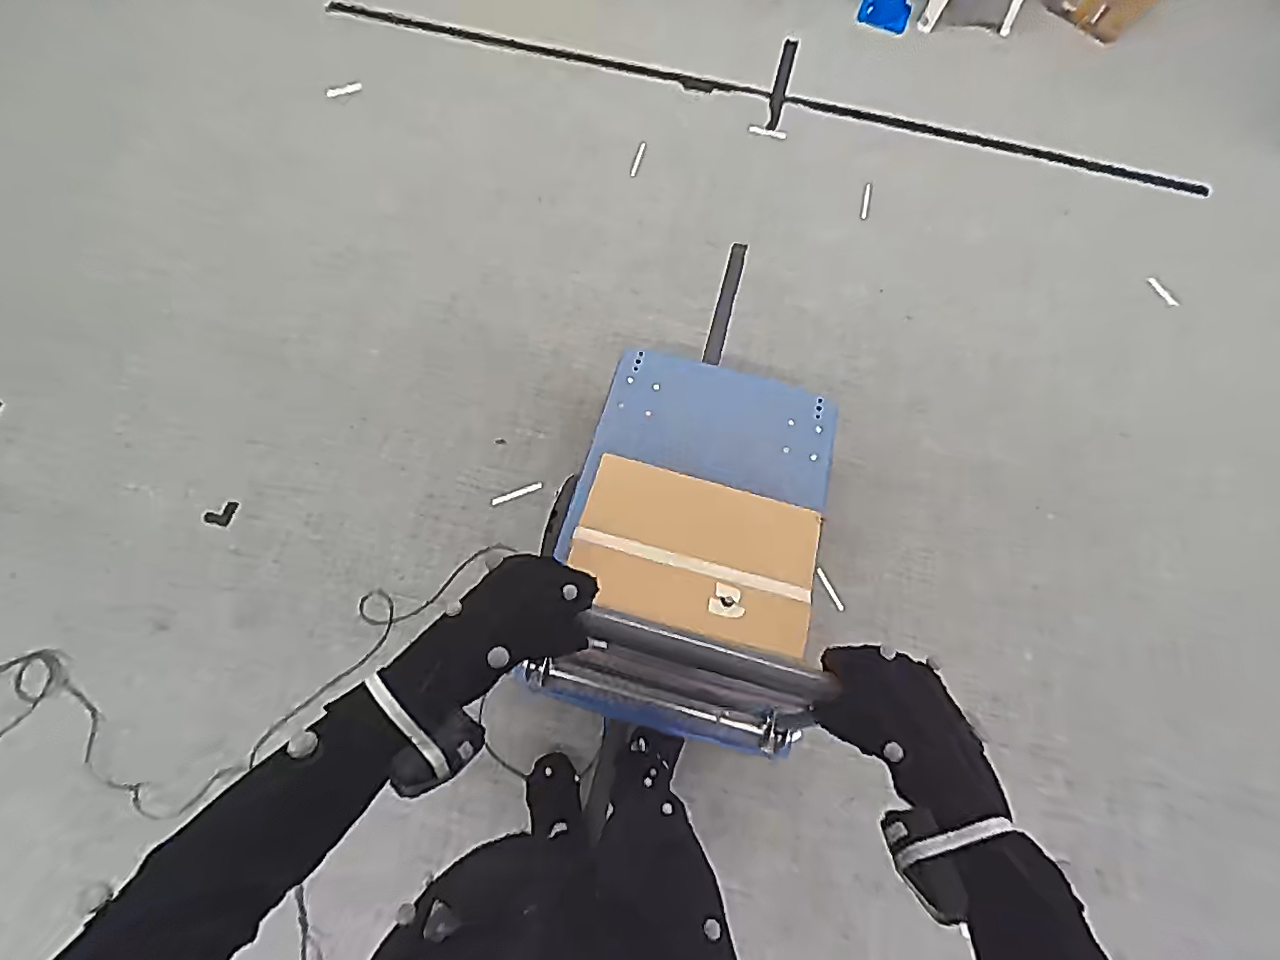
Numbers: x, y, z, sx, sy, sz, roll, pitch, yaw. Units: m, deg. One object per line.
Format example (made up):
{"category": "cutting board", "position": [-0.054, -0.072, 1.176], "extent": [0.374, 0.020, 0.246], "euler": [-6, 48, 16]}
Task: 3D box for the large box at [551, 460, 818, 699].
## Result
{"category": "large box", "position": [0.073, 0.206, 1.031], "extent": [0.408, 0.320, 0.320], "euler": [16, 67, 2]}
